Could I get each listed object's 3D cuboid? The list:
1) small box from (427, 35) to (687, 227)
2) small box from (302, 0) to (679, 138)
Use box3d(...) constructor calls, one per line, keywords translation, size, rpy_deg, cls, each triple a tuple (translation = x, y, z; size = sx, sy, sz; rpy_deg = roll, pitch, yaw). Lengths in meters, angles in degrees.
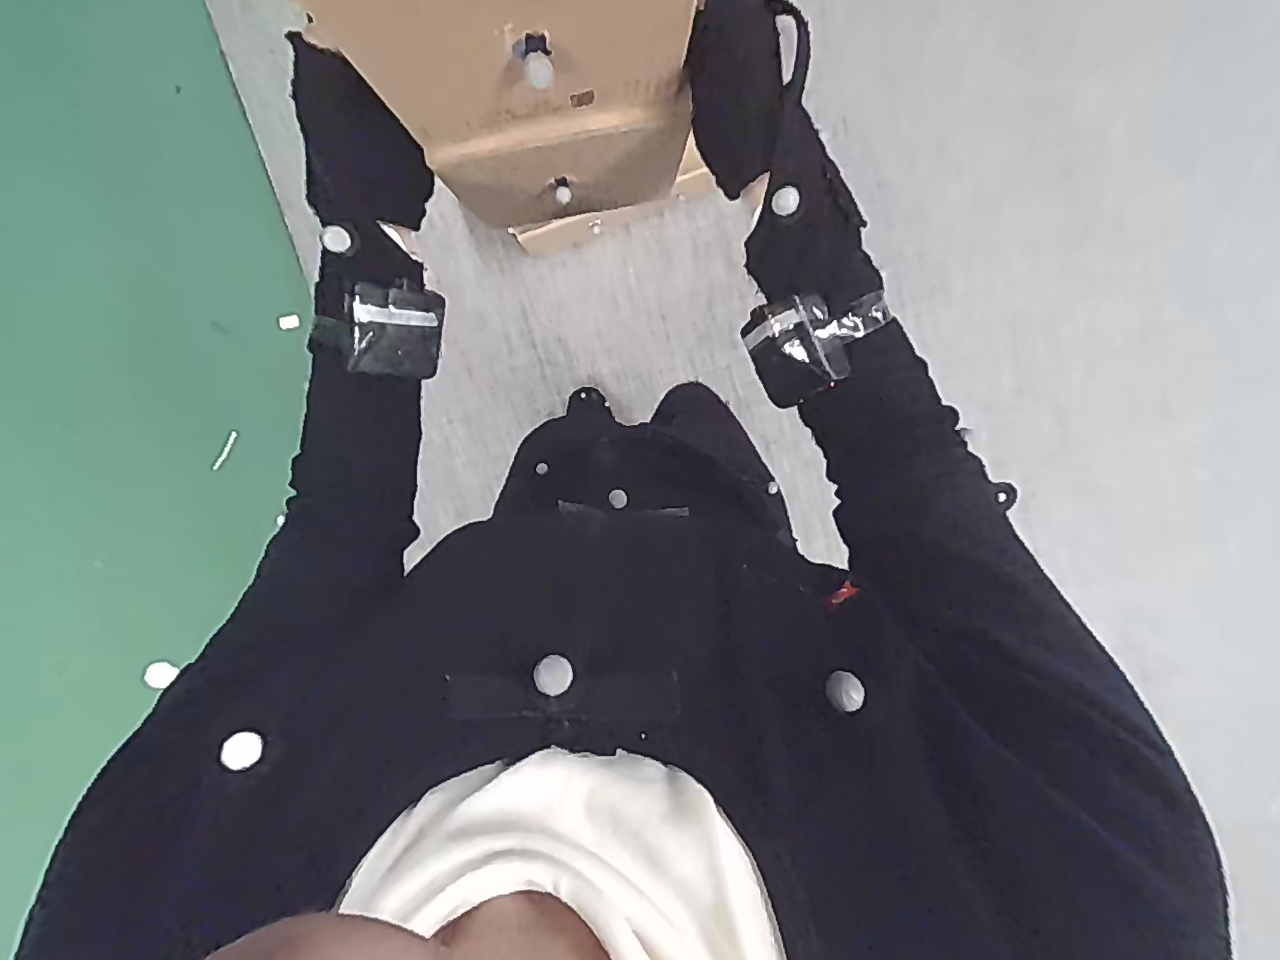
box3d(translation=(-0.068, -0.319, 0.429), size=(0.179, 0.176, 0.168), rpy_deg=(-10, 100, 1), cls="small box")
box3d(translation=(-0.075, -0.303, 0.268), size=(0.168, 0.176, 0.179), rpy_deg=(-14, 100, 2), cls="small box")
